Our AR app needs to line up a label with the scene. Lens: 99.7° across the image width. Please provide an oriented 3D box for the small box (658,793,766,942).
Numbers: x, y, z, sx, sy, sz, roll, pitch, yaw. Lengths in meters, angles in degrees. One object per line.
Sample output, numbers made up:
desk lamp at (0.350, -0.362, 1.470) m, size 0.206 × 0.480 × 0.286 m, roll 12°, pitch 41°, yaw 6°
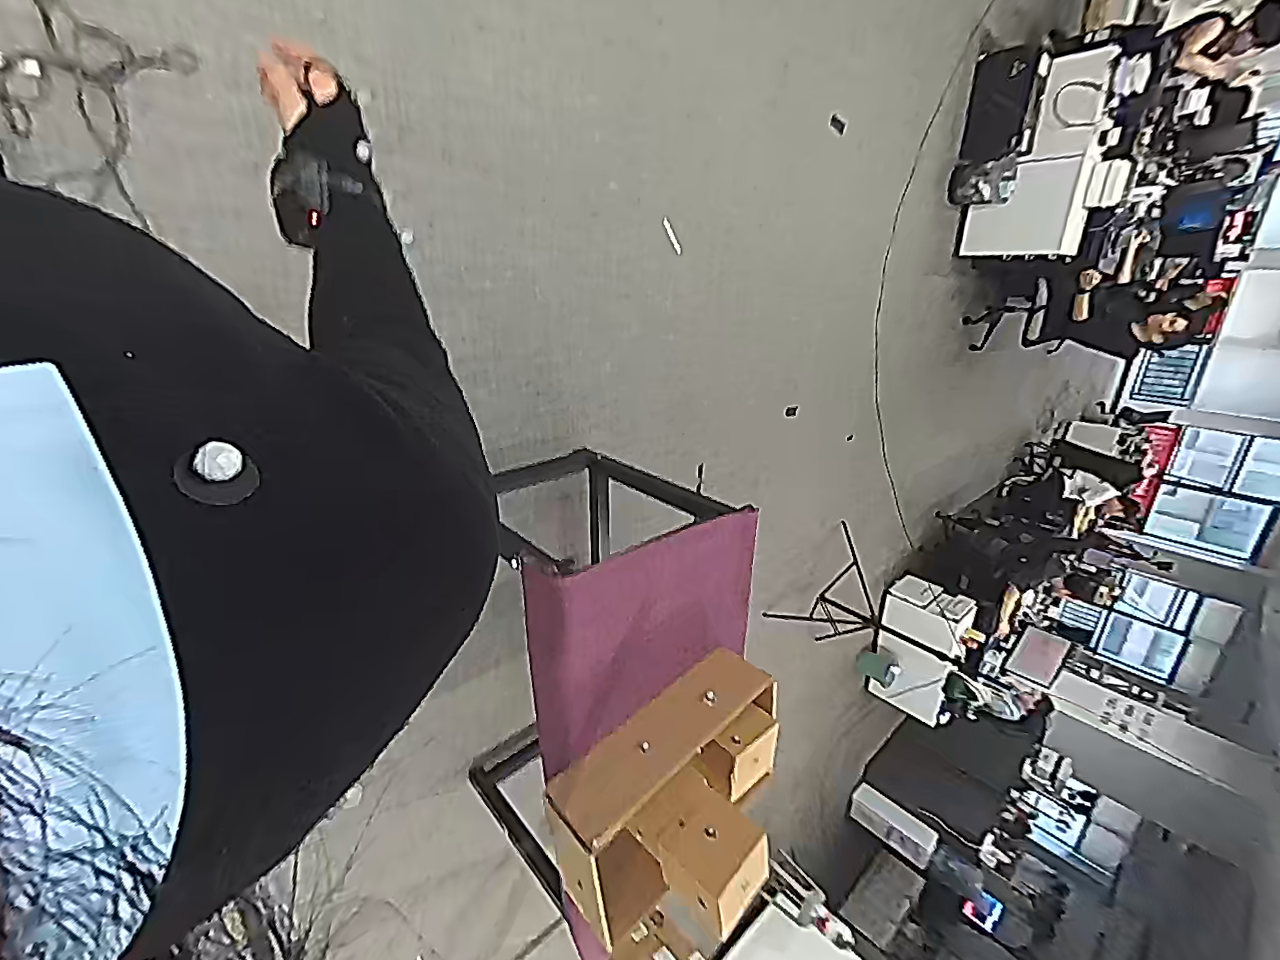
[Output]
small box at (0.153, 0.819, 1.165) m, size 0.168 × 0.176 × 0.179 m, roll -30°, pitch 126°, yaw -35°
